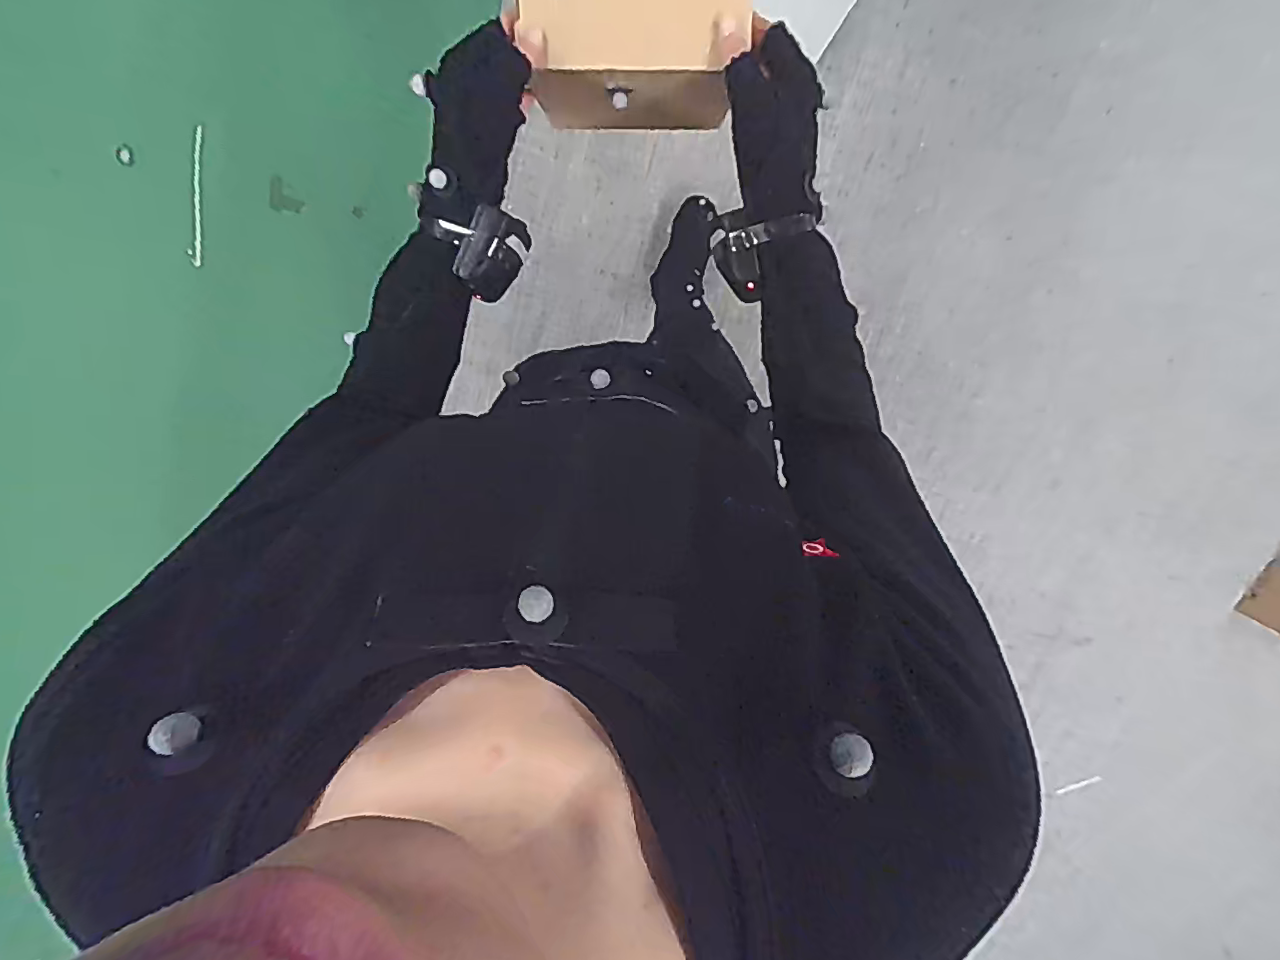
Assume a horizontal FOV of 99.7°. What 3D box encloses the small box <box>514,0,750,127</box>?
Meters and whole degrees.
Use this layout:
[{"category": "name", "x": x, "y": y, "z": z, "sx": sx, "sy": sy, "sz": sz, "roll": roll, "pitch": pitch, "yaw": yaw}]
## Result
[{"category": "small box", "x": -0.004, "y": -0.415, "z": 0.456, "sx": 0.179, "sy": 0.176, "sz": 0.168, "roll": 0, "pitch": 109, "yaw": 0}]
